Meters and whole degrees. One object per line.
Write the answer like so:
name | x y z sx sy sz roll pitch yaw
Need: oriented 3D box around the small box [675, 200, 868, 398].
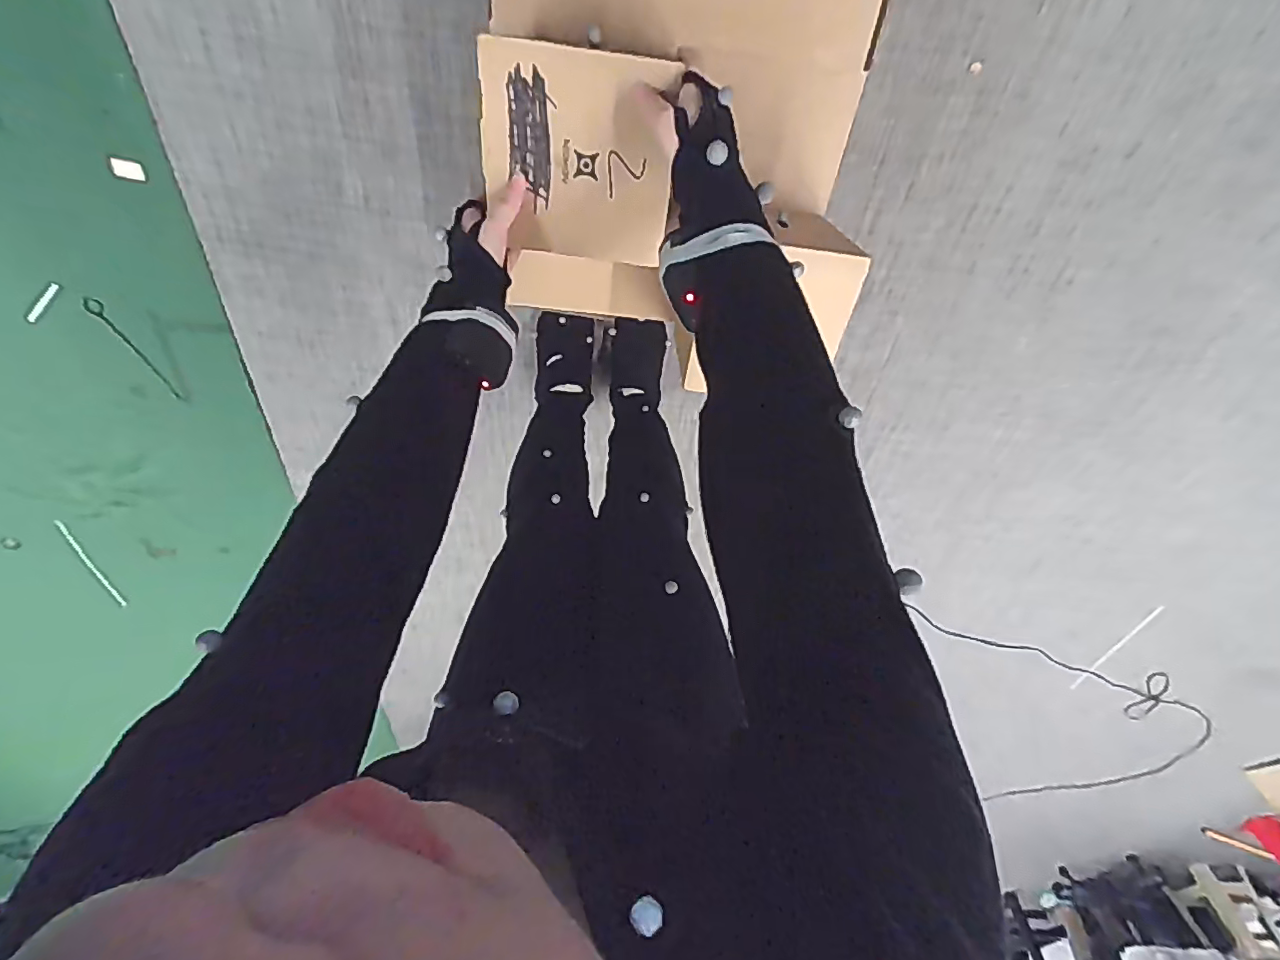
small box | 0.140 -0.223 0.656 0.168 0.176 0.179 5 128 -6
